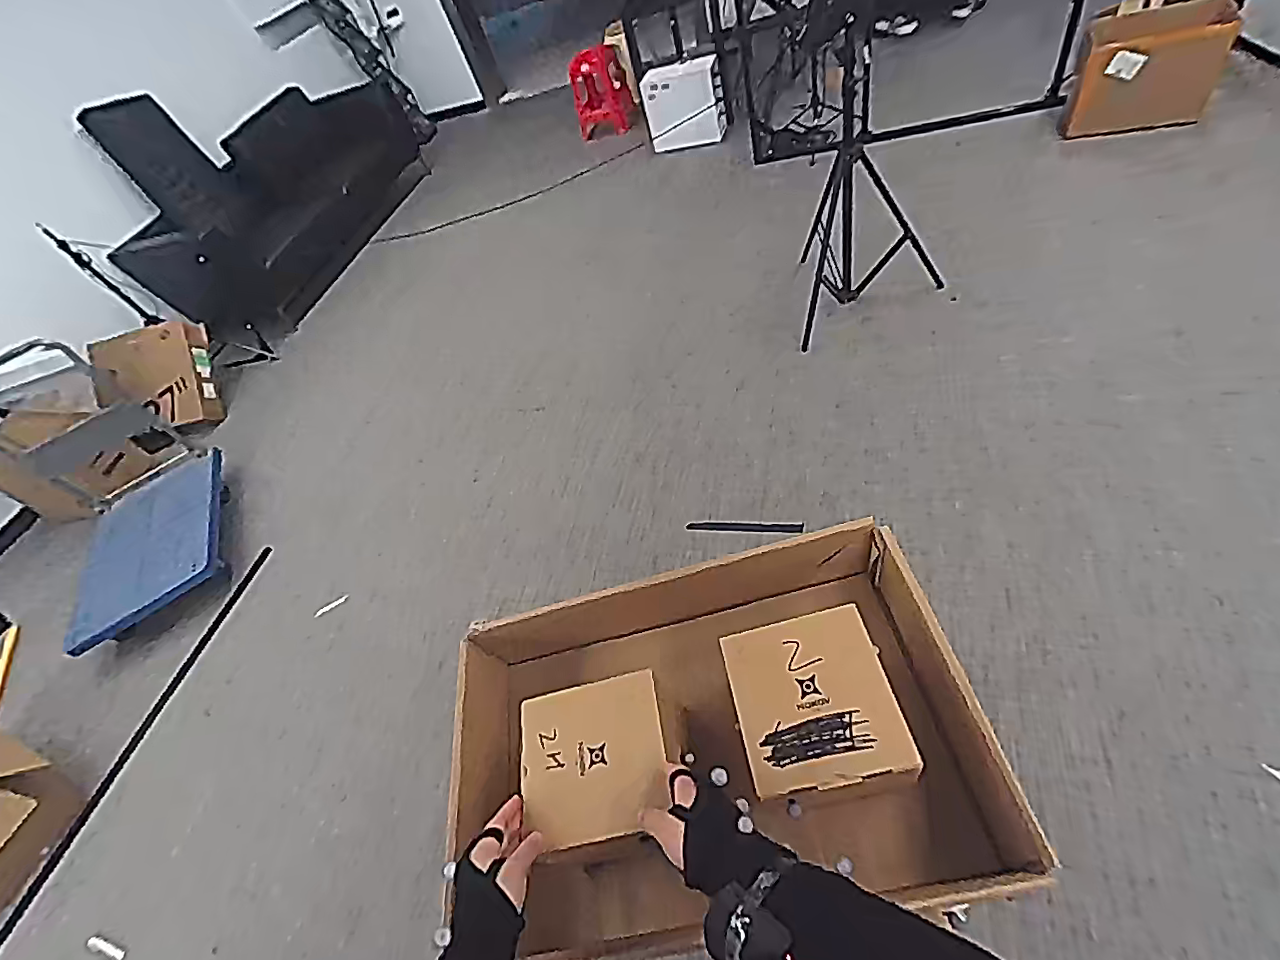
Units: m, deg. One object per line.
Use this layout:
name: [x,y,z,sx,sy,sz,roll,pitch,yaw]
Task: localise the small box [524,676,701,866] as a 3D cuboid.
small box: [-0.029,0.366,0.674,0.179,0.176,0.168,-17,49,8]
